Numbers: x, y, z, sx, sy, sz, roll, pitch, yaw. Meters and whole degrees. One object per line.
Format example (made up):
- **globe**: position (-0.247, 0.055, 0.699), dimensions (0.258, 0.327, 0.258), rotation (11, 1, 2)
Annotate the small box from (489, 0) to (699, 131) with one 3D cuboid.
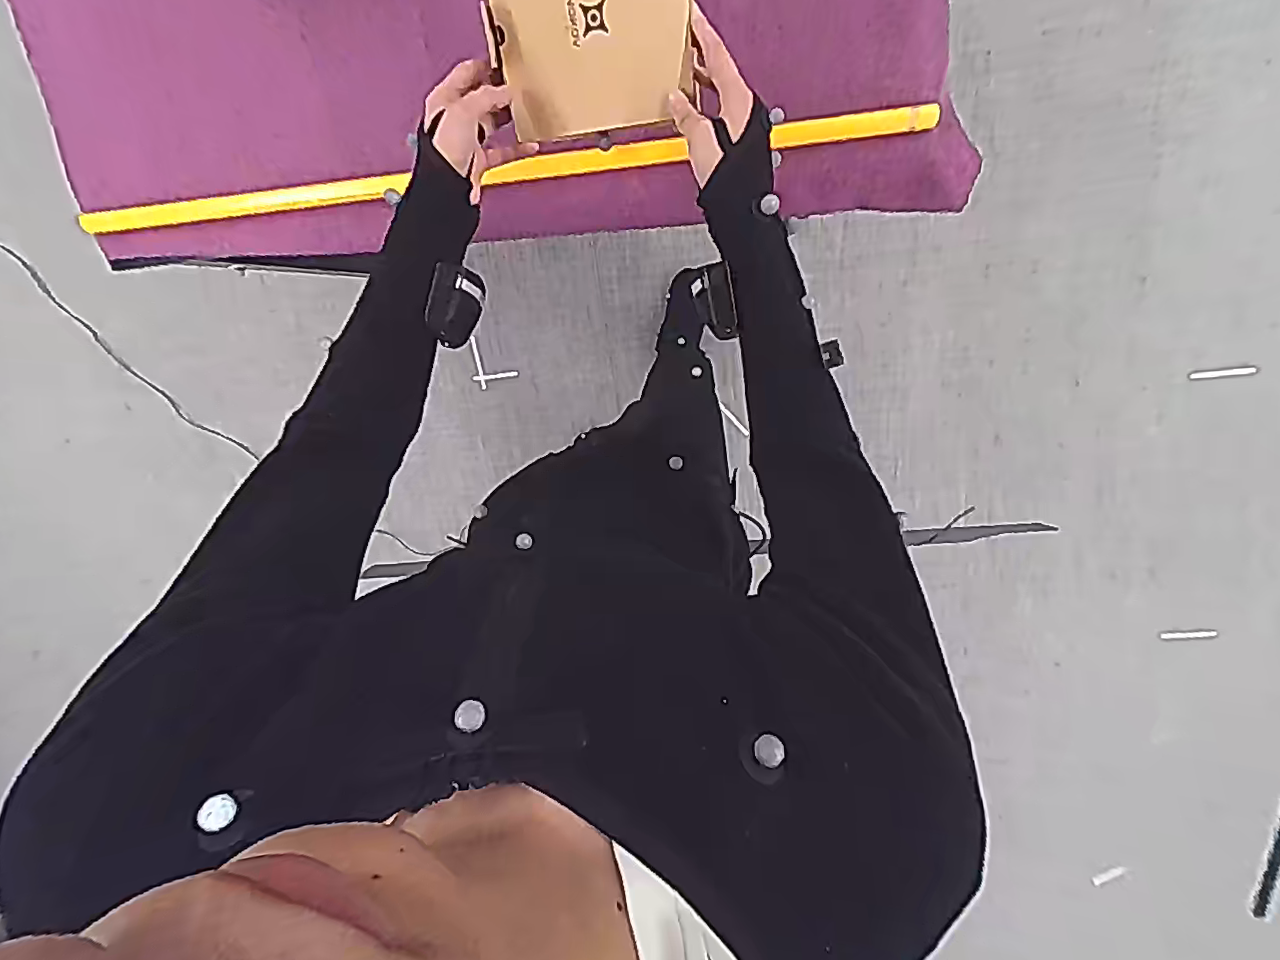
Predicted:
- **small box**: position (-0.034, -0.452, 0.527), dimensions (0.179, 0.176, 0.168), rotation (-2, 123, 11)
